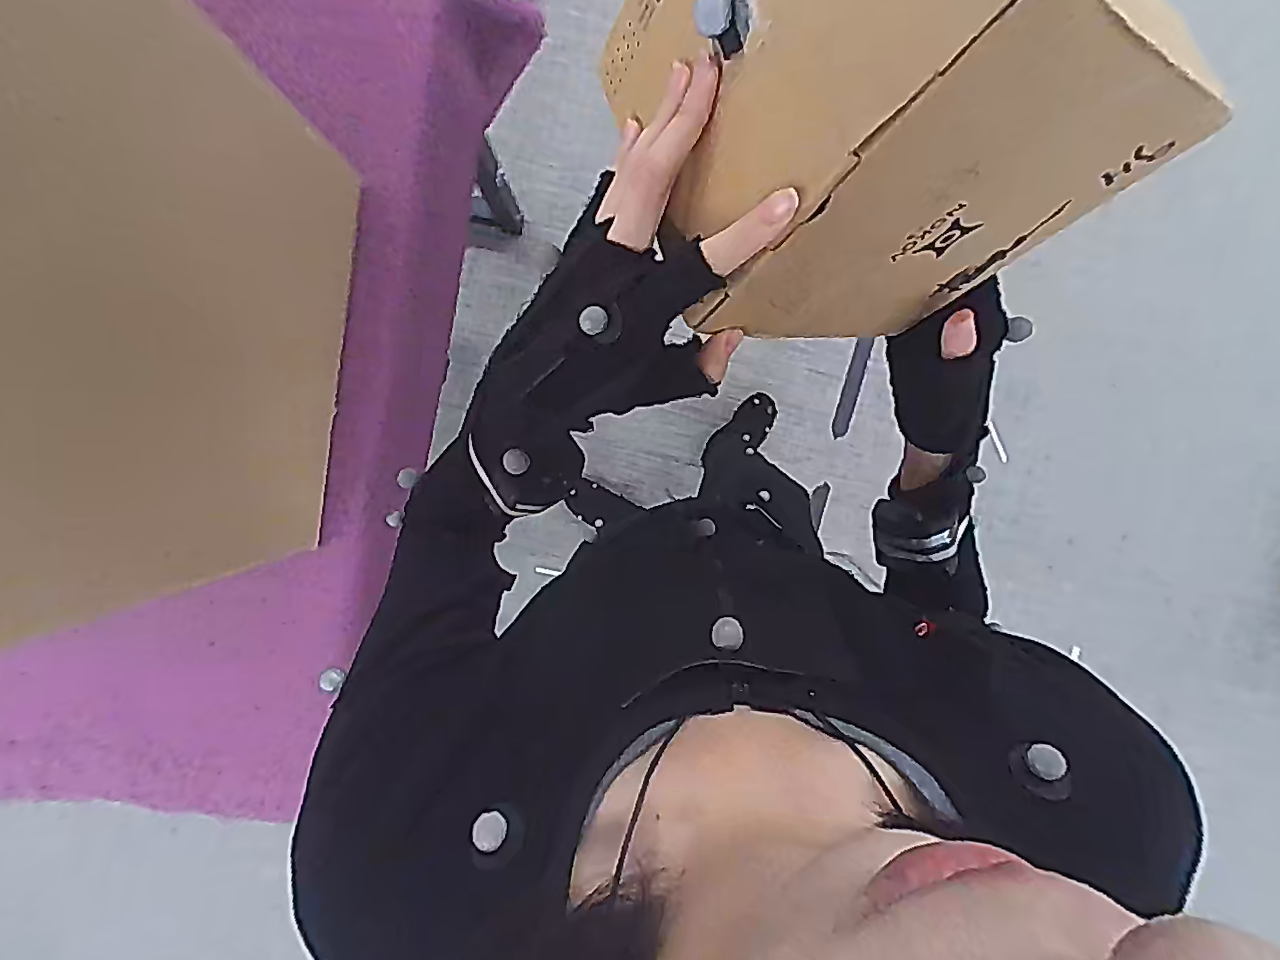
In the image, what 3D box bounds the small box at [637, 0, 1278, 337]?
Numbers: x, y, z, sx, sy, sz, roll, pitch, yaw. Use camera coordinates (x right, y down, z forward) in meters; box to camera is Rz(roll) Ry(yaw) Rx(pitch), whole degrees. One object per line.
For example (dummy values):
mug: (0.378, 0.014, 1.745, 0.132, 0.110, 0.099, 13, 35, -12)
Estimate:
small box: (0.120, -0.188, 0.252, 0.179, 0.168, 0.176, -7, 74, -32)
